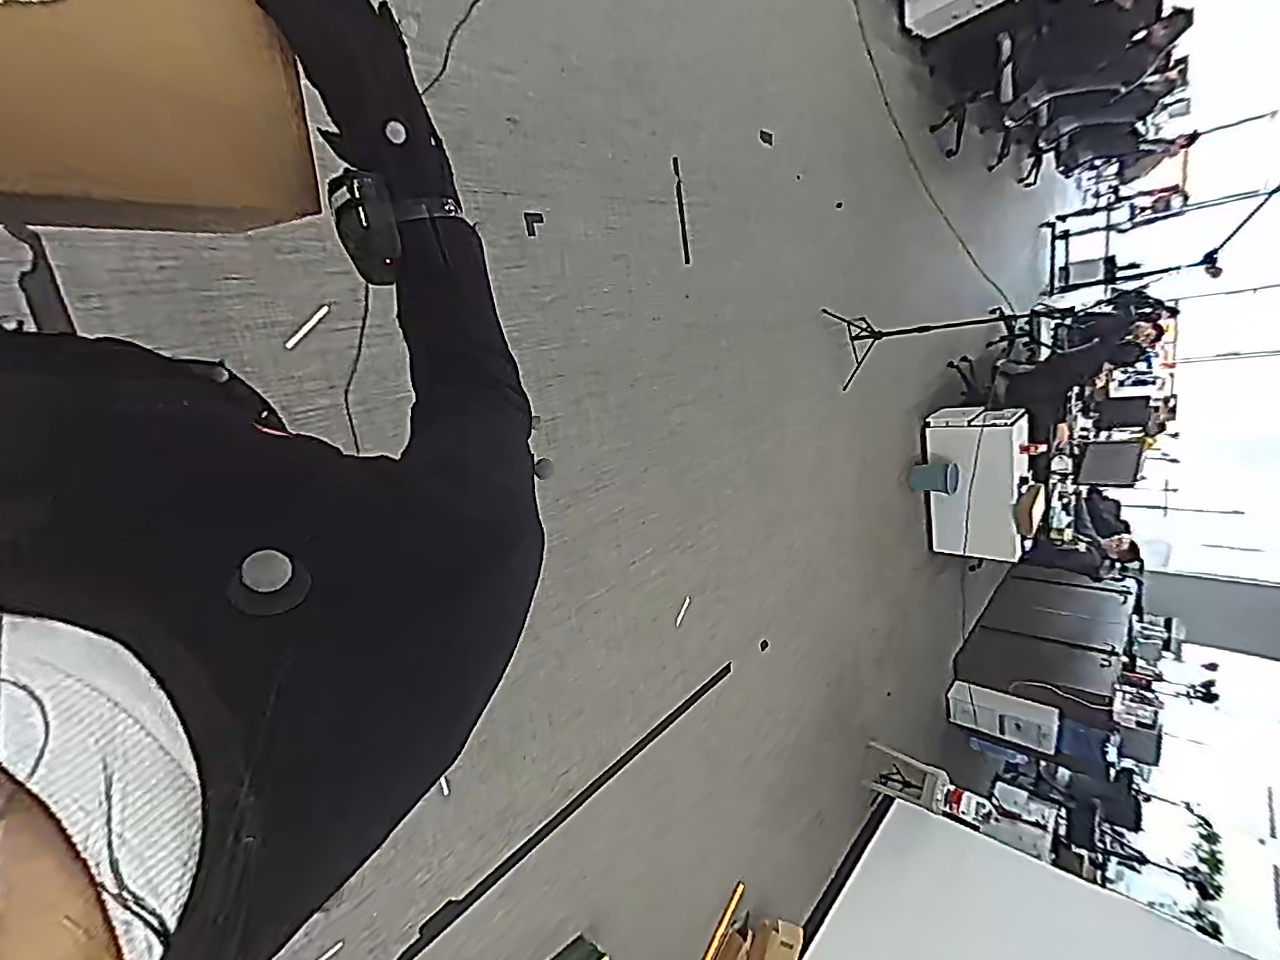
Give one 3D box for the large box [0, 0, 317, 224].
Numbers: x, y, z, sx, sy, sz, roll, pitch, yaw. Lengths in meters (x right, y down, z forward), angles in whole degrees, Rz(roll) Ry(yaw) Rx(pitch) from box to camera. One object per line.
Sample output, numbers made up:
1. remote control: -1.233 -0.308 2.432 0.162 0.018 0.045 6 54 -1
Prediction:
1. large box: -0.486 -0.333 0.319 0.408 0.320 0.320 -19 120 -40
